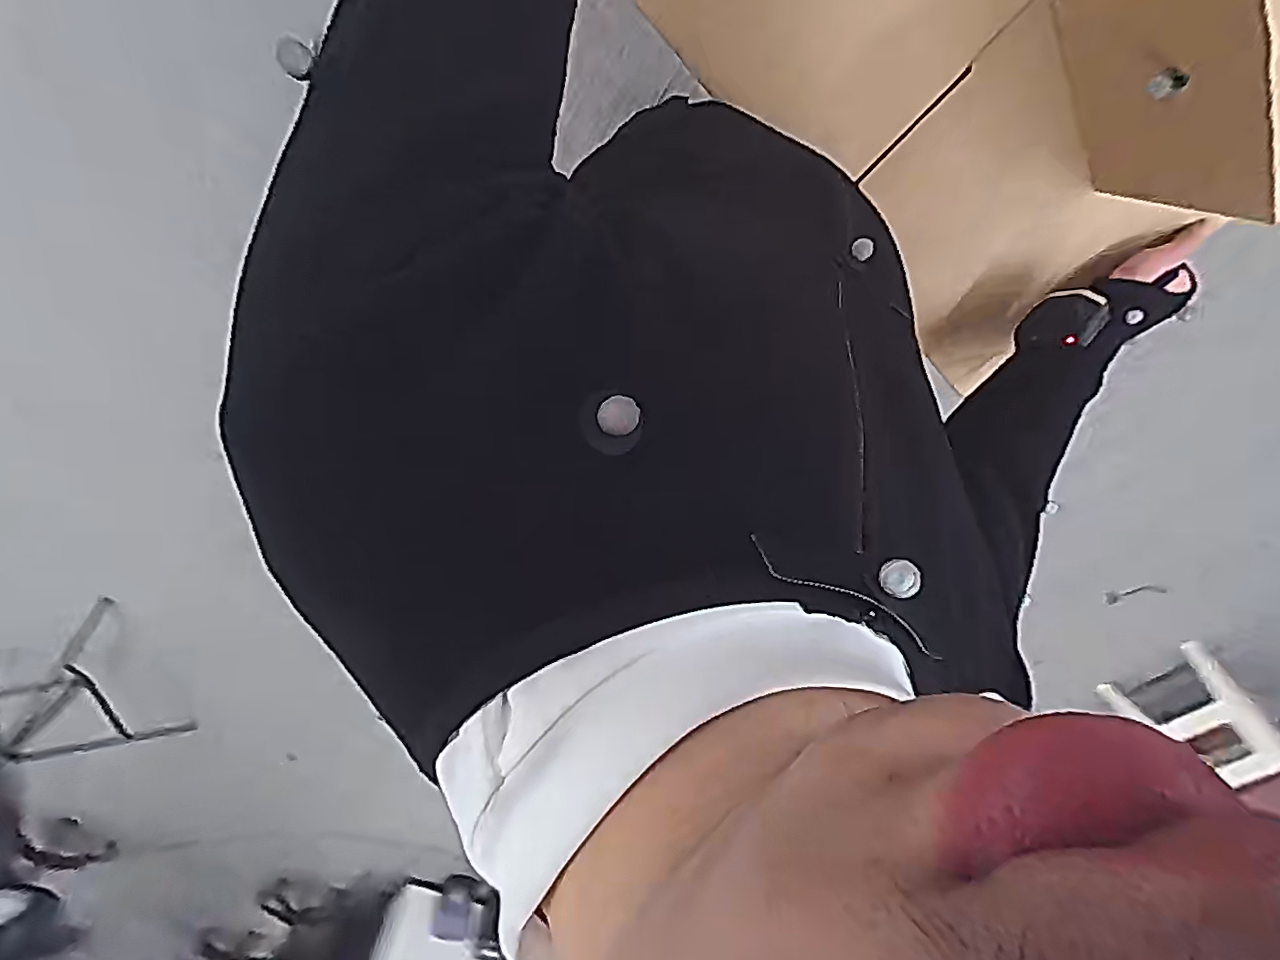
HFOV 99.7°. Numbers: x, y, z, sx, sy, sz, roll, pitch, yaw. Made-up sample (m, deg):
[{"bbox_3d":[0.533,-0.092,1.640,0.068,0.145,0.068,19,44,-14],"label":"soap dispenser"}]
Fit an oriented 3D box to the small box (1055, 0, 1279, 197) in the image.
[{"bbox_3d":[0.435,-0.331,0.370,0.168,0.176,0.179,-34,119,20],"label":"small box"}]
